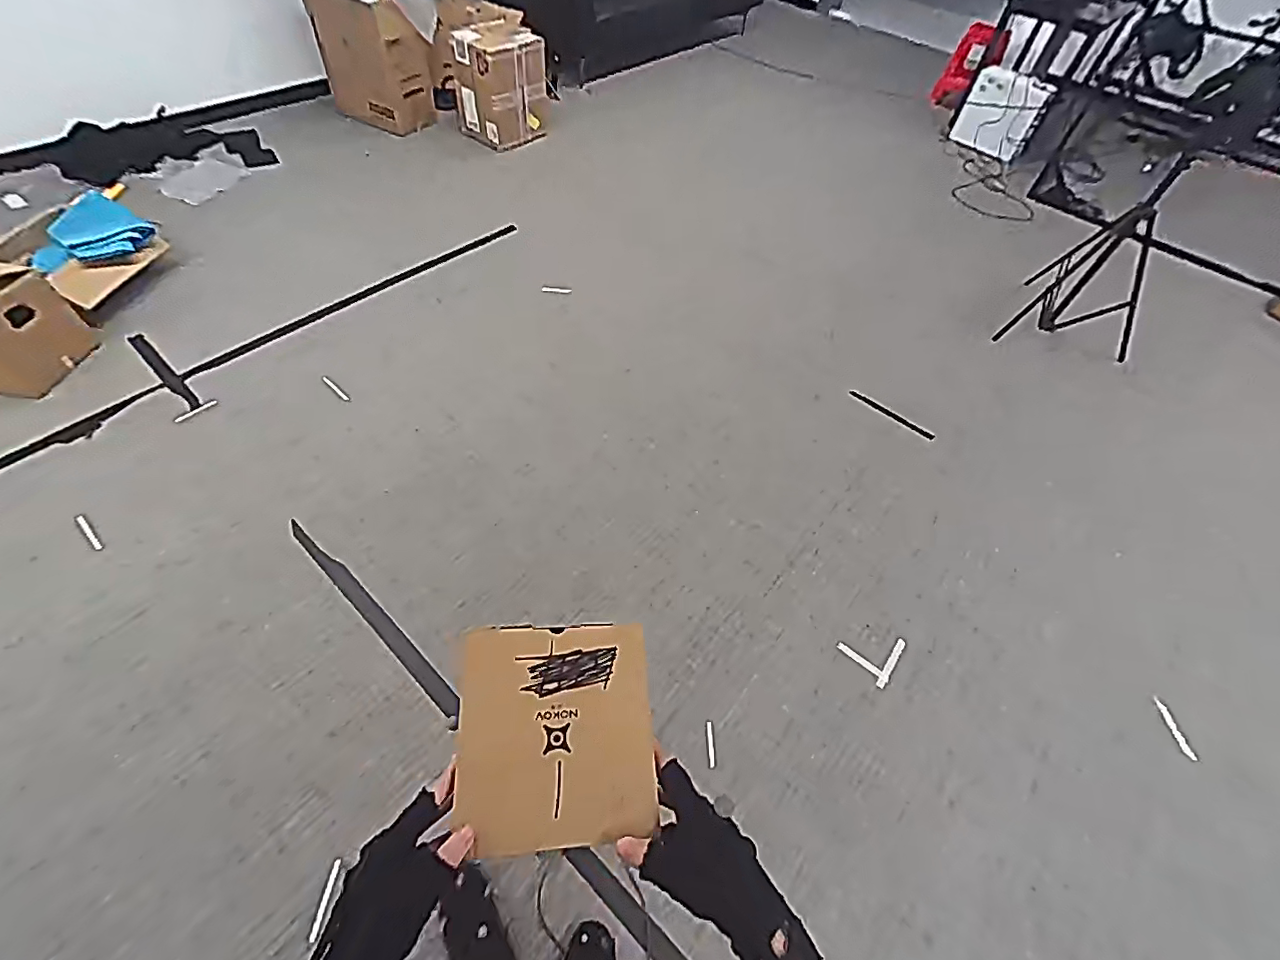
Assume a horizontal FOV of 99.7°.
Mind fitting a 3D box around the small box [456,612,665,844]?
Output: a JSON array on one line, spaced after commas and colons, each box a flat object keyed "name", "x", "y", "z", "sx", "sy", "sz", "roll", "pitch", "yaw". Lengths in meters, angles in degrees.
[{"name": "small box", "x": -0.081, "y": 0.238, "z": 0.527, "sx": 0.168, "sy": 0.176, "sz": 0.179, "roll": 1, "pitch": 61, "yaw": -12}]
